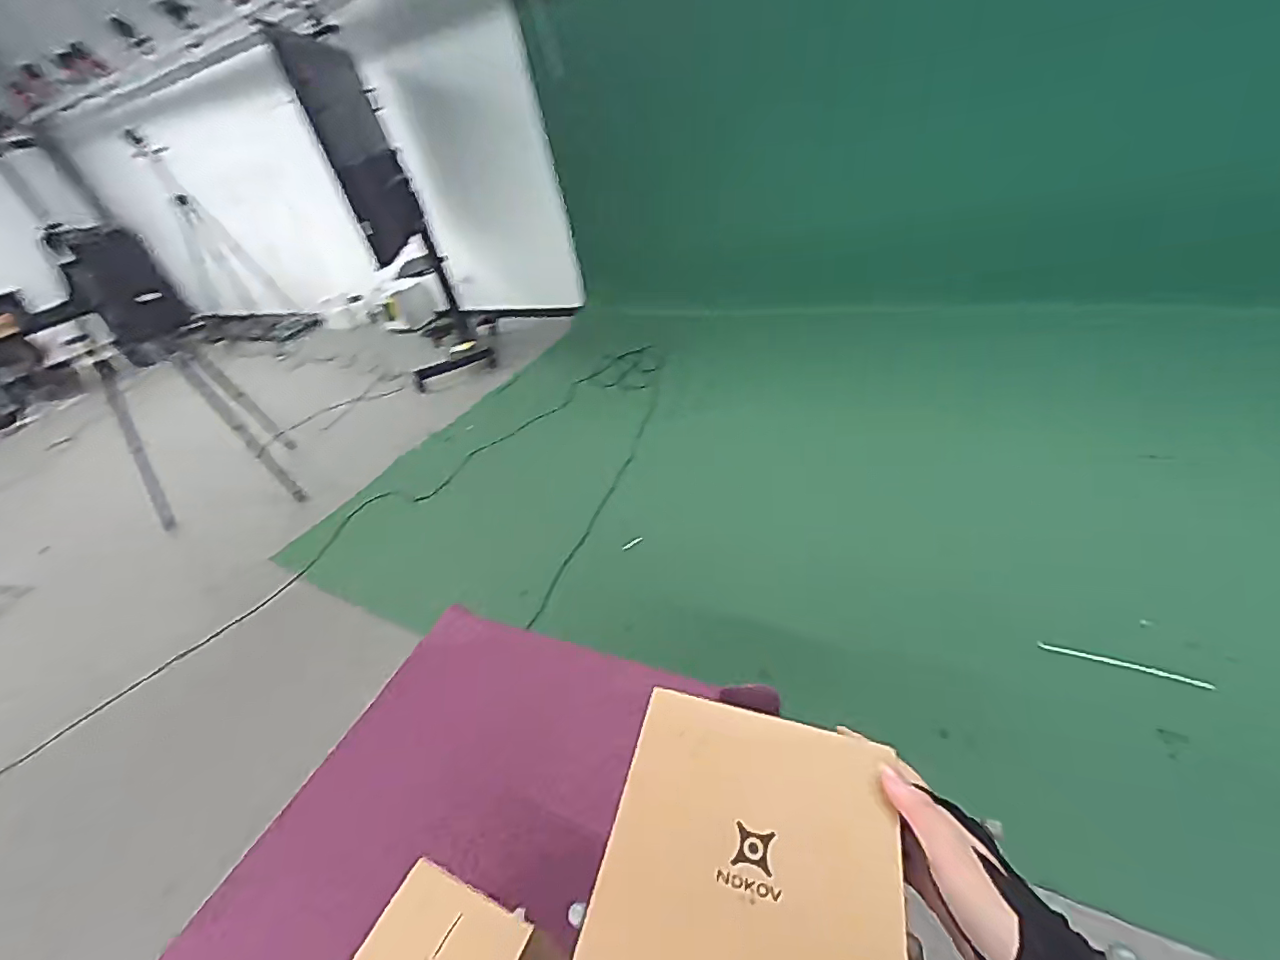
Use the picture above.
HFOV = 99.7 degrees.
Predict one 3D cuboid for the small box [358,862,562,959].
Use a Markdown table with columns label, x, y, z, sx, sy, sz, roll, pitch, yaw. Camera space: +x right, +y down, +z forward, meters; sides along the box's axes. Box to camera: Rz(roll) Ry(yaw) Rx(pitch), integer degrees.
| label | x | y | z | sx | sy | sz | roll | pitch | yaw |
| --- | --- | --- | --- | --- | --- | --- | --- | --- | --- |
| small box | -0.197 | 0.560 | 0.570 | 0.168 | 0.176 | 0.179 | 8 | 41 | 27 |
